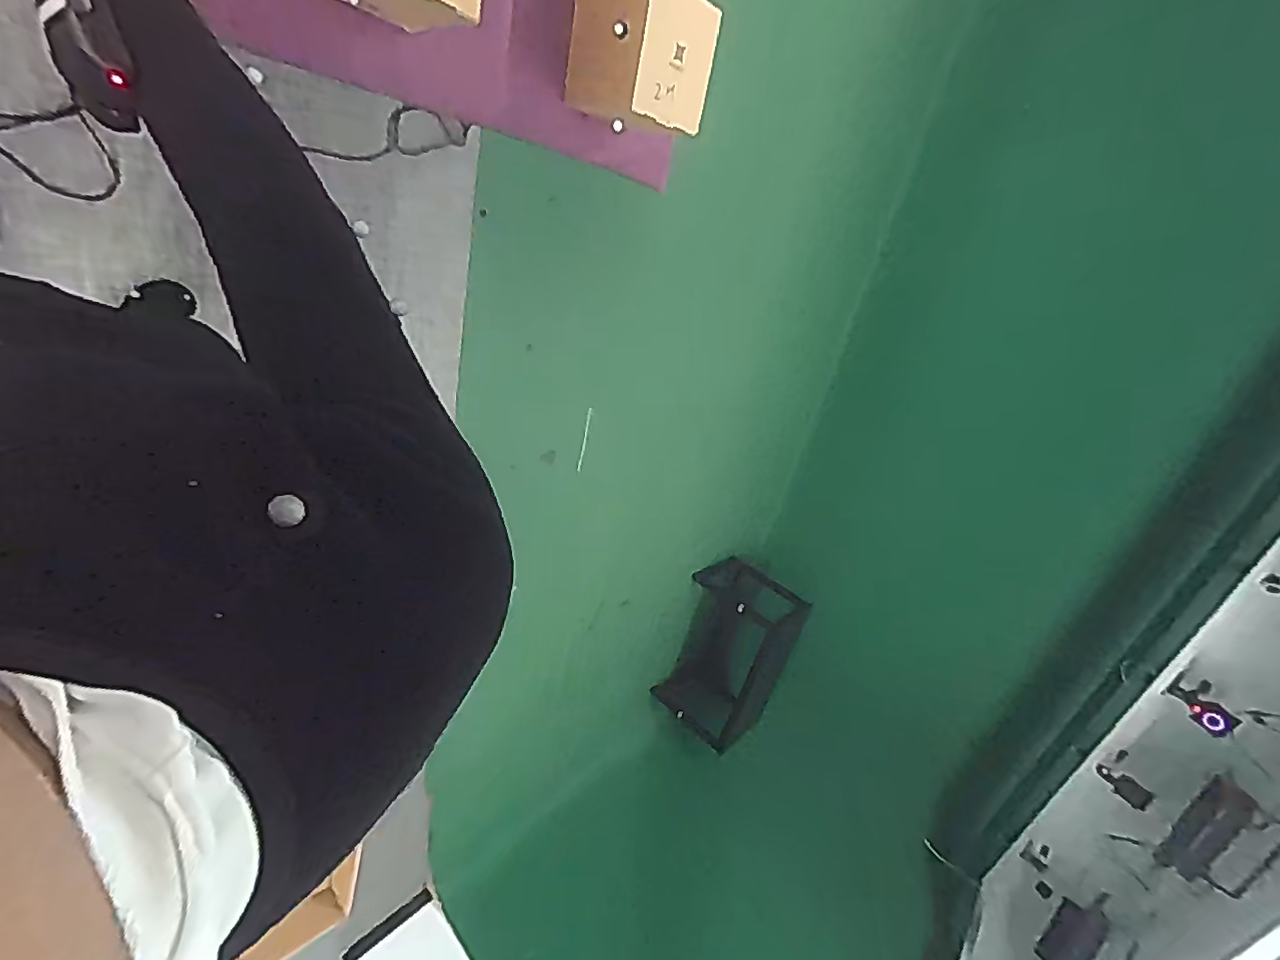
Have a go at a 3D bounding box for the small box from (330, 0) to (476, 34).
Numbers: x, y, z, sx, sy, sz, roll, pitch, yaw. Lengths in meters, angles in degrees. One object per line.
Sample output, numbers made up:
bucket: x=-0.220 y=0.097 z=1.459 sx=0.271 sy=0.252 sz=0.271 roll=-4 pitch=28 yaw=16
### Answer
small box: x=-0.289 y=-0.622 z=0.583 sx=0.168 sy=0.176 sz=0.179 roll=-15 pitch=128 yaw=-49

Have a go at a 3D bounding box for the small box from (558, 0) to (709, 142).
small box: x=-0.017 y=-0.689 z=0.896 sx=0.168 sy=0.176 sz=0.179 roll=-16 pitch=130 yaw=-46
